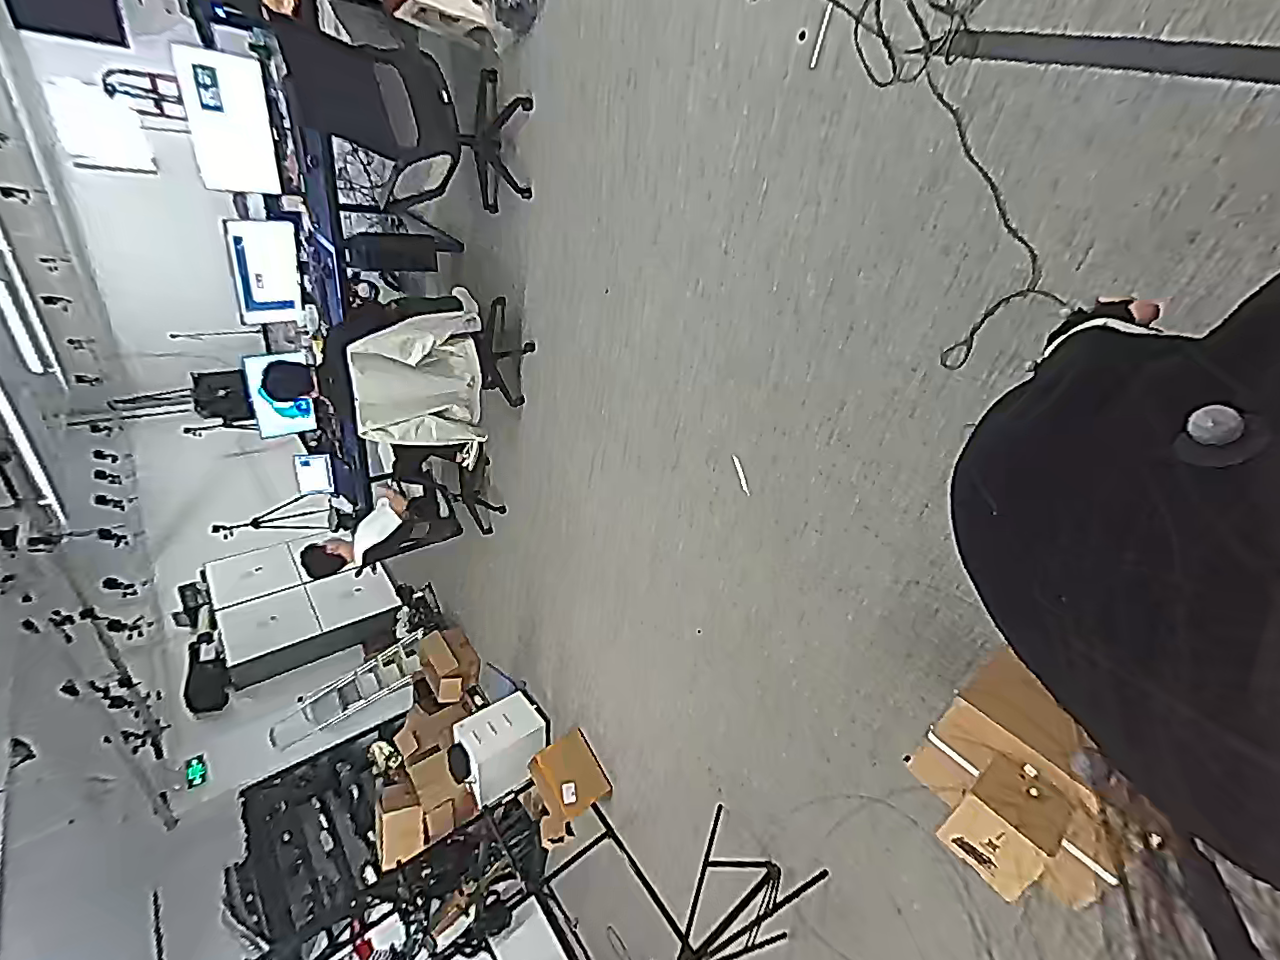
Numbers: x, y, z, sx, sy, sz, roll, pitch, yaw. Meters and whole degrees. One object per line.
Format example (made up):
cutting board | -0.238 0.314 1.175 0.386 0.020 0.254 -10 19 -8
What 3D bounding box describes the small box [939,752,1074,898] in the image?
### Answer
small box | 0.800 0.744 1.180 0.168 0.176 0.179 37 129 38
